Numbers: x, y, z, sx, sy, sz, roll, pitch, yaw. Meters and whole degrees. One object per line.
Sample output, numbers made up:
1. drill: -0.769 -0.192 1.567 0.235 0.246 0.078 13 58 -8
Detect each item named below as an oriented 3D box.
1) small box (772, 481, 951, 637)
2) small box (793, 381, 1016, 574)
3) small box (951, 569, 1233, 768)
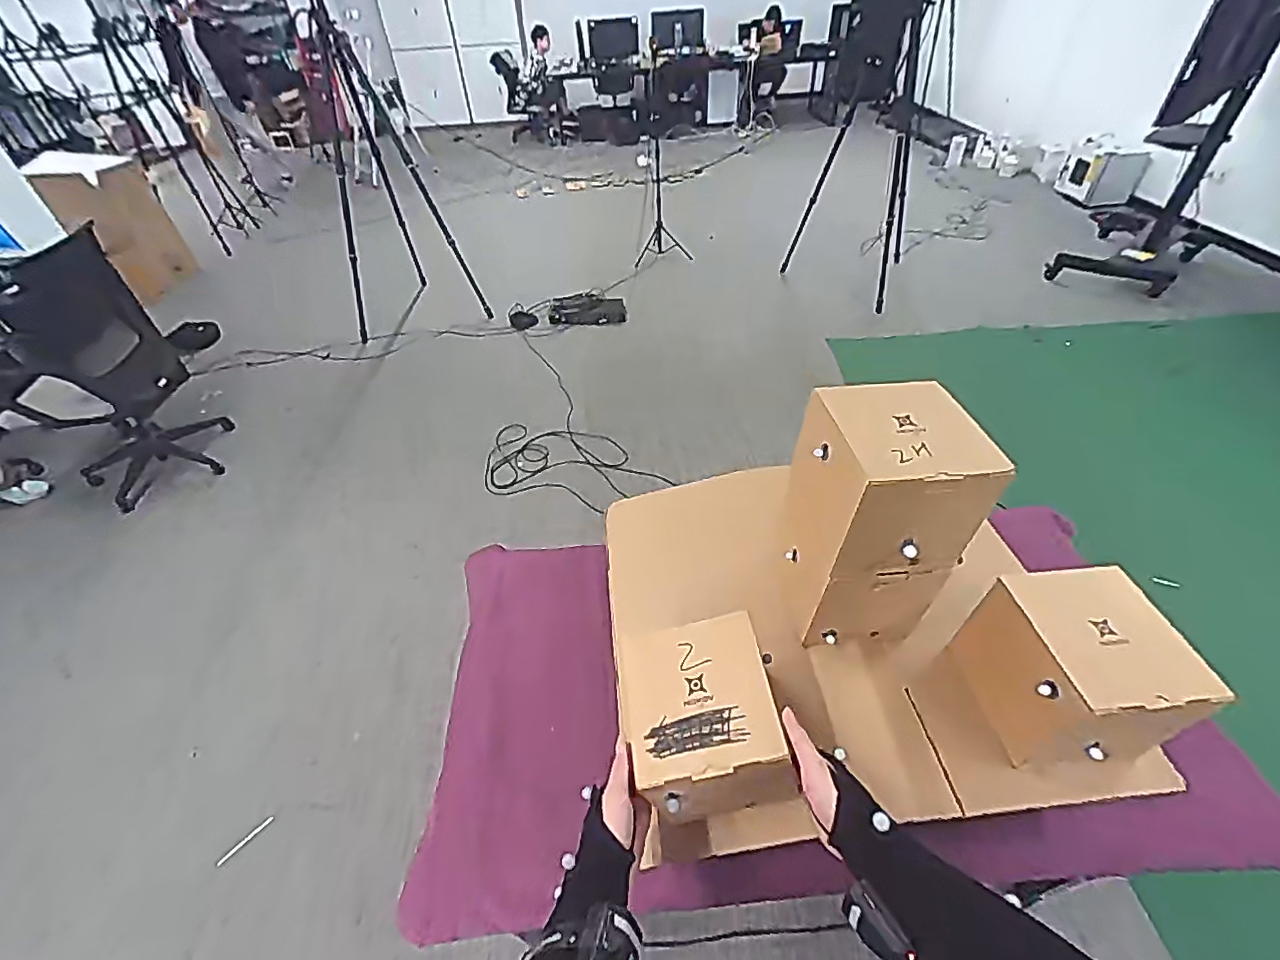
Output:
1. small box: 0.305 0.115 0.789 0.168 0.176 0.179 -3 44 -5
2. small box: 0.306 -0.005 0.676 0.168 0.176 0.179 -4 45 -4
3. small box: 0.532 0.233 0.675 0.168 0.176 0.179 -3 45 -4
